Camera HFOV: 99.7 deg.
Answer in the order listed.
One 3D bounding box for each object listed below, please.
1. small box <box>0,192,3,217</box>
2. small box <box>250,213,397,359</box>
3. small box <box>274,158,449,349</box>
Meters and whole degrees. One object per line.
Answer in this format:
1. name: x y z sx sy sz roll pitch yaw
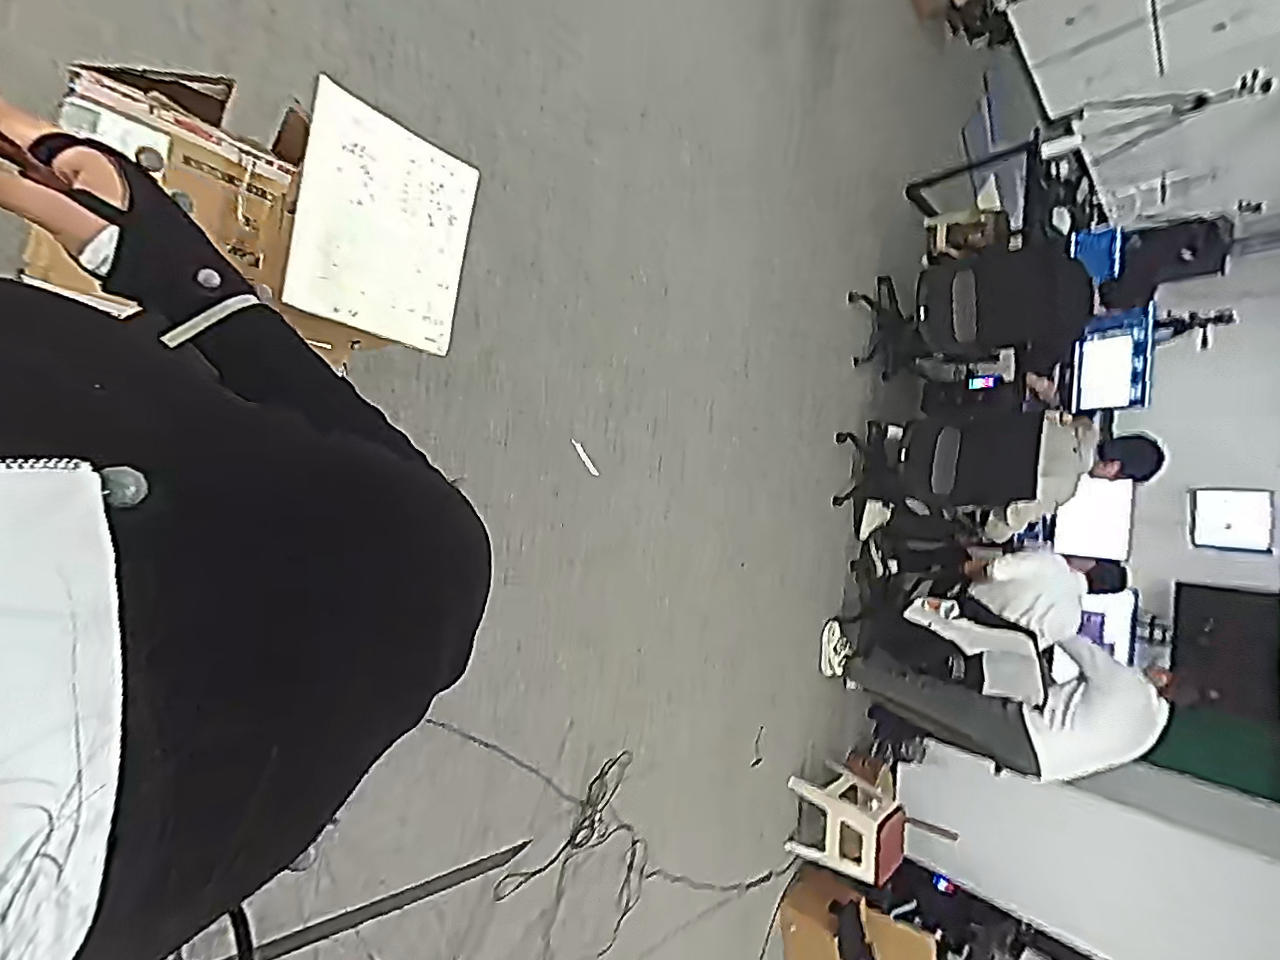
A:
1. small box: -0.514 -0.245 0.302 0.179 0.176 0.168 -19 119 -43
2. small box: -0.505 -0.296 0.874 0.179 0.176 0.168 5 90 -44
3. small box: -0.391 -0.297 0.756 0.168 0.176 0.179 9 87 -45
